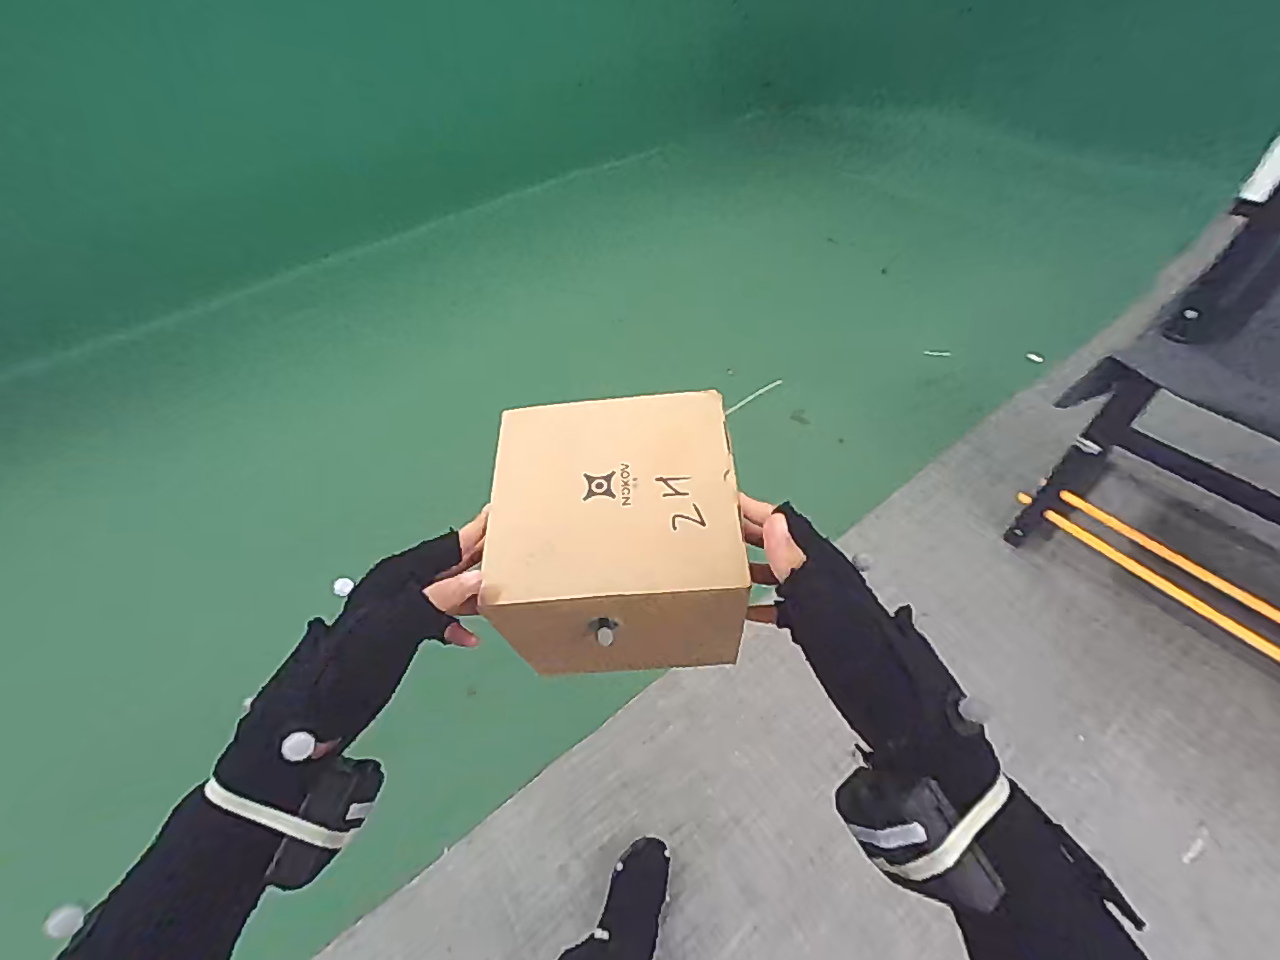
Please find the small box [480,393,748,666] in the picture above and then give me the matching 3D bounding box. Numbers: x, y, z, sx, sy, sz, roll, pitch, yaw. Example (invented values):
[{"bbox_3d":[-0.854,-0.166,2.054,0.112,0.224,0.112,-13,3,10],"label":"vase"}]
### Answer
[{"bbox_3d":[-0.012,0.050,0.451,0.179,0.176,0.168,-4,57,3],"label":"small box"}]
